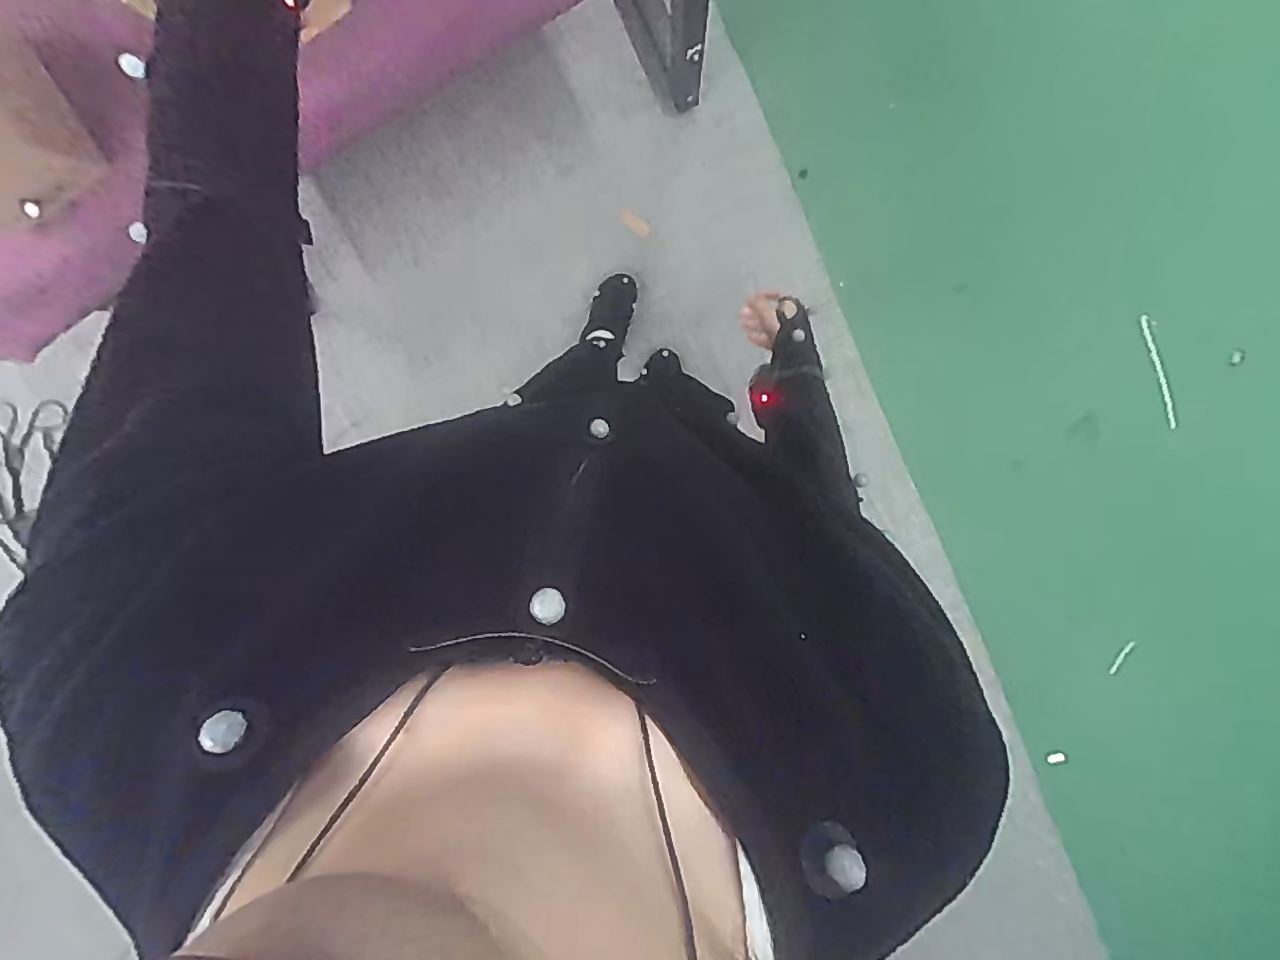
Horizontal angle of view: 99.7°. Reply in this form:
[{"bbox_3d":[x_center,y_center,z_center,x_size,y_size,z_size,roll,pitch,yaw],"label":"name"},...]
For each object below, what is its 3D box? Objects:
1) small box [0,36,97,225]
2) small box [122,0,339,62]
[{"bbox_3d":[-0.813,-0.427,0.621,0.168,0.176,0.179,-27,102,9],"label":"small box"},{"bbox_3d":[-0.464,-0.590,0.566,0.168,0.176,0.179,-27,99,9],"label":"small box"}]
